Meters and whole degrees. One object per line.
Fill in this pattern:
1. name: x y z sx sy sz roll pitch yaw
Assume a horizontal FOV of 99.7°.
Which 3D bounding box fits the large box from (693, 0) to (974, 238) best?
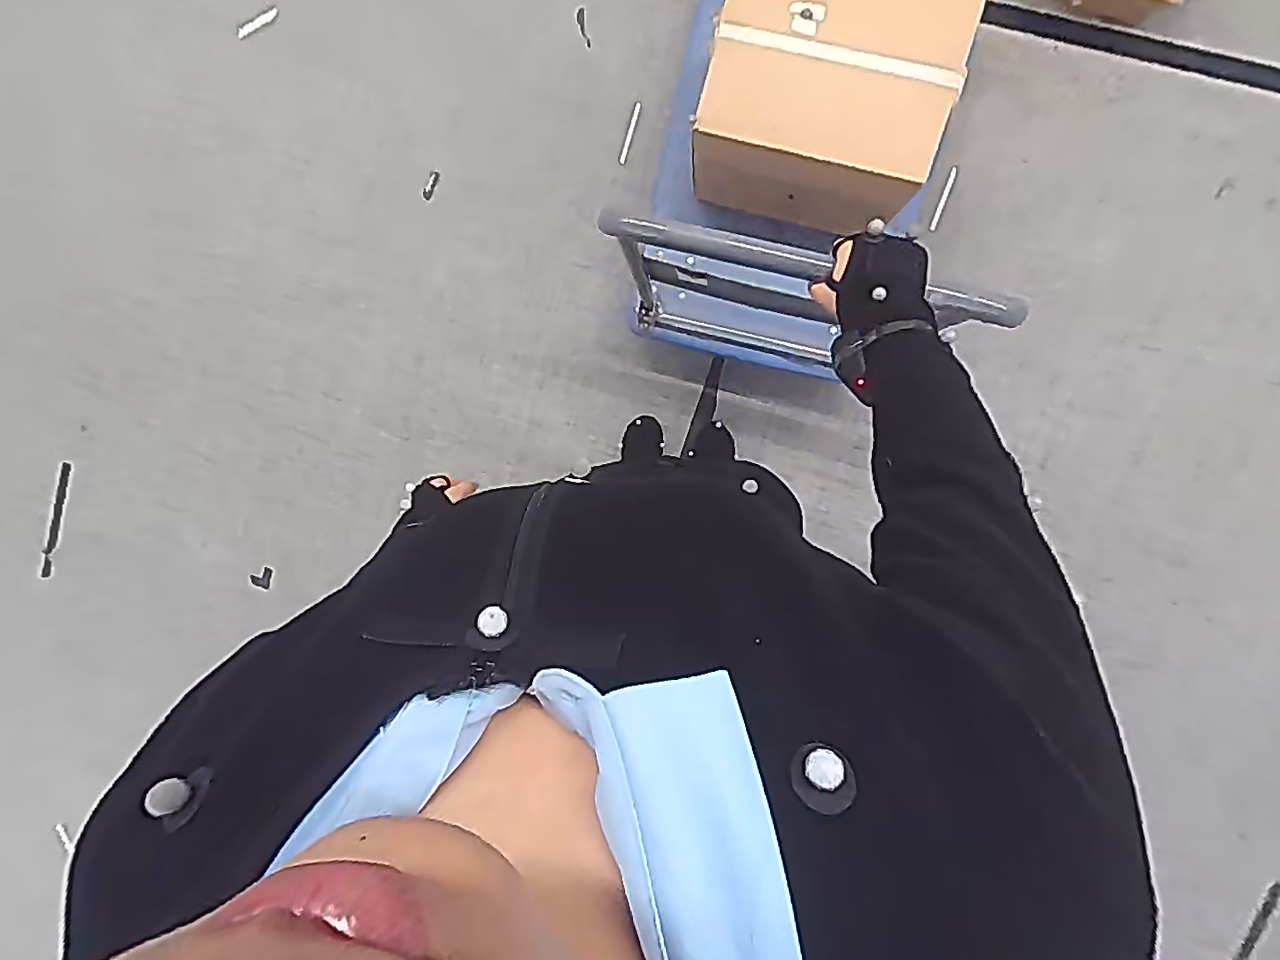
1. large box: 0.339 -0.714 1.058 0.408 0.320 0.320 16 97 5
